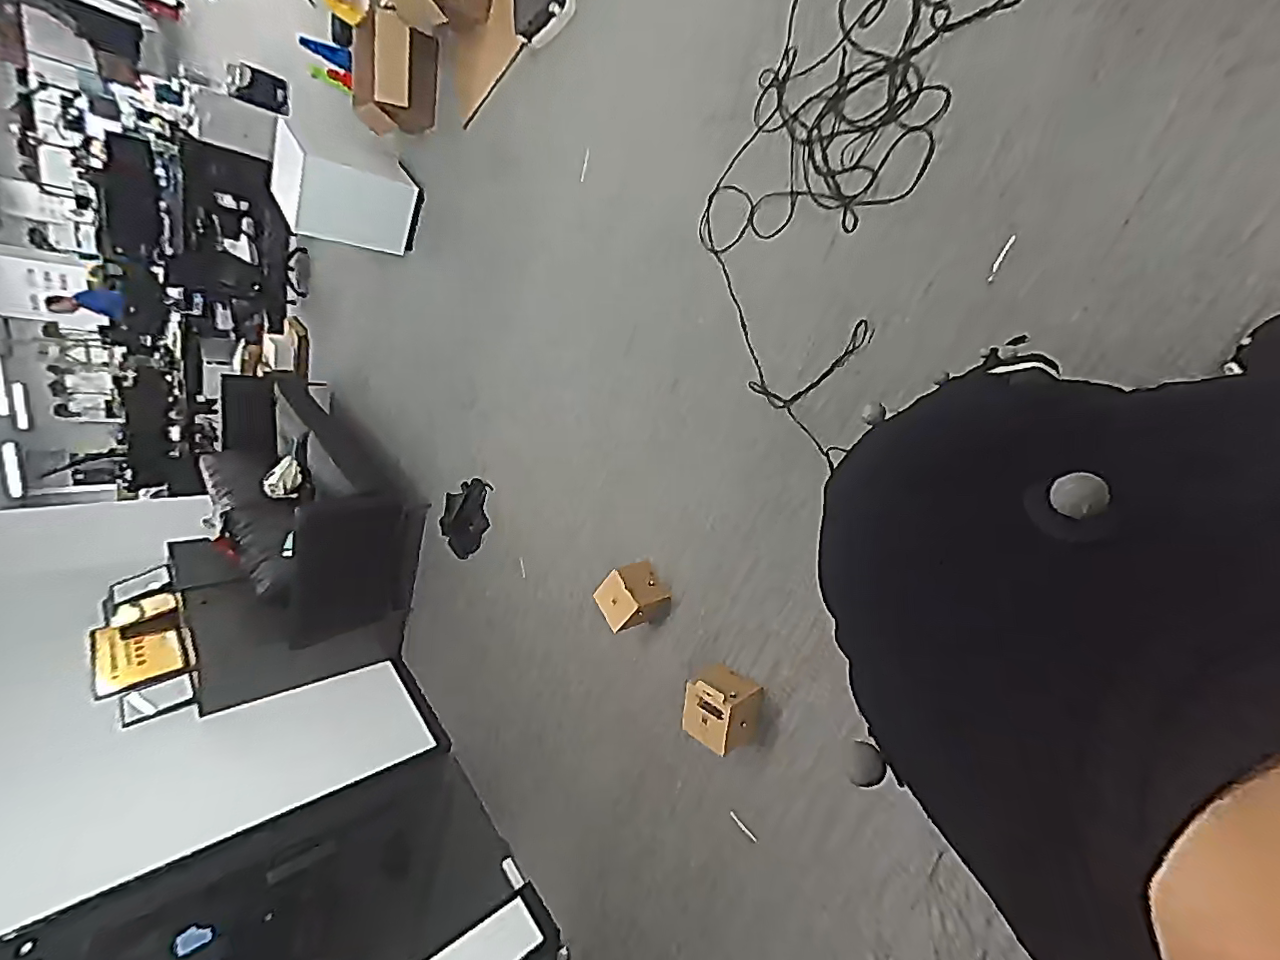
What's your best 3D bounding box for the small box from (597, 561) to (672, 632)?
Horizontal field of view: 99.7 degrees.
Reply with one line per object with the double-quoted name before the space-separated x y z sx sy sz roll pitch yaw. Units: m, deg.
"small box" -0.018 0.415 1.939 0.168 0.176 0.179 55 128 27
